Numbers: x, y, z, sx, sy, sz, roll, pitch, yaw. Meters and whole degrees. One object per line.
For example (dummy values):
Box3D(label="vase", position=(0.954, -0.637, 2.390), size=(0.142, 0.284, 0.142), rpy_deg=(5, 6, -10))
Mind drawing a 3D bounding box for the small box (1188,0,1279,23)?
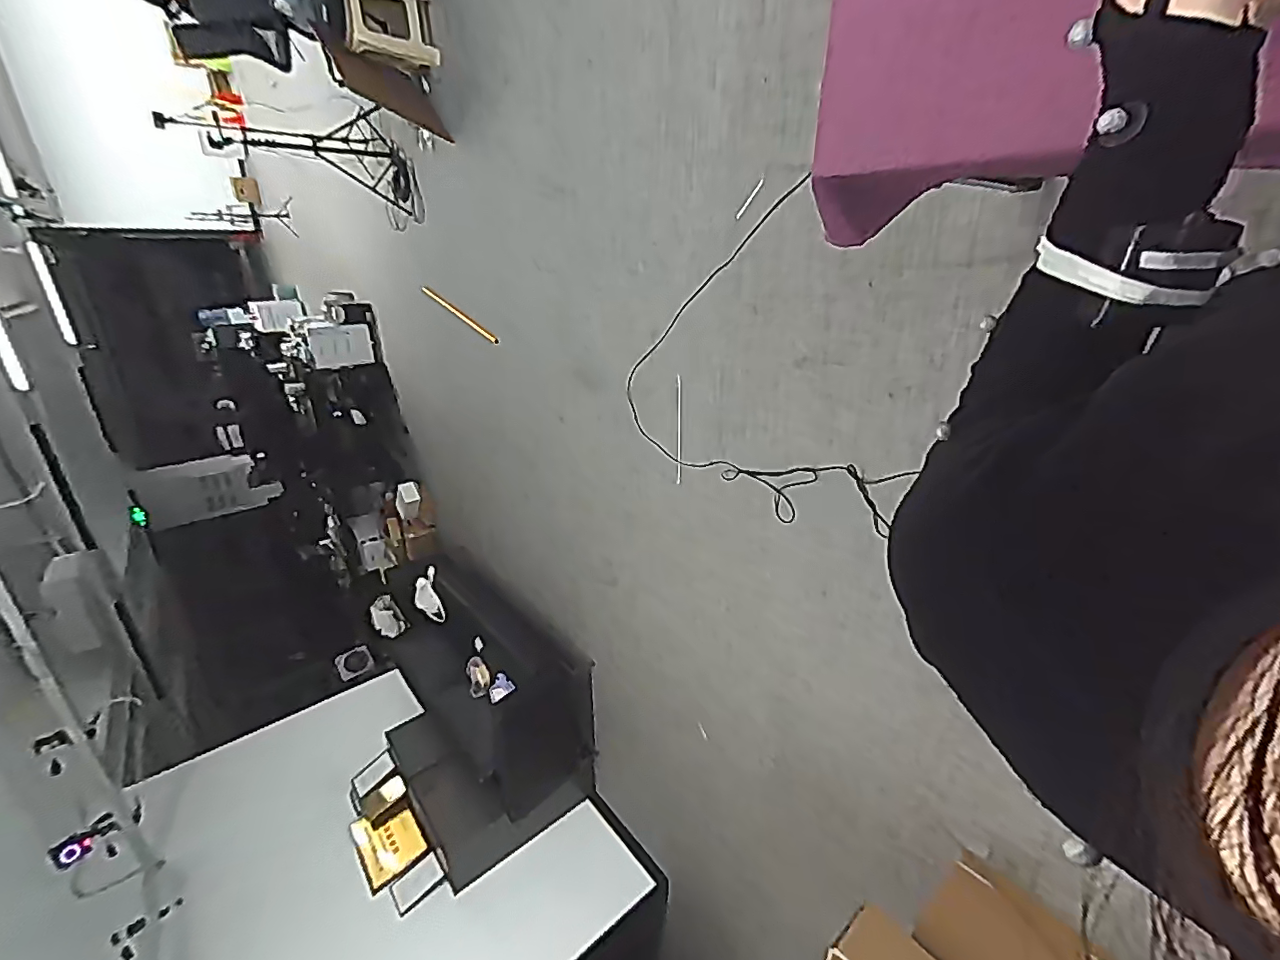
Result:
Box3D(label="small box", position=(0.500, -0.461, 0.367), size=(0.168, 0.176, 0.179), rpy_deg=(23, 122, 47))
